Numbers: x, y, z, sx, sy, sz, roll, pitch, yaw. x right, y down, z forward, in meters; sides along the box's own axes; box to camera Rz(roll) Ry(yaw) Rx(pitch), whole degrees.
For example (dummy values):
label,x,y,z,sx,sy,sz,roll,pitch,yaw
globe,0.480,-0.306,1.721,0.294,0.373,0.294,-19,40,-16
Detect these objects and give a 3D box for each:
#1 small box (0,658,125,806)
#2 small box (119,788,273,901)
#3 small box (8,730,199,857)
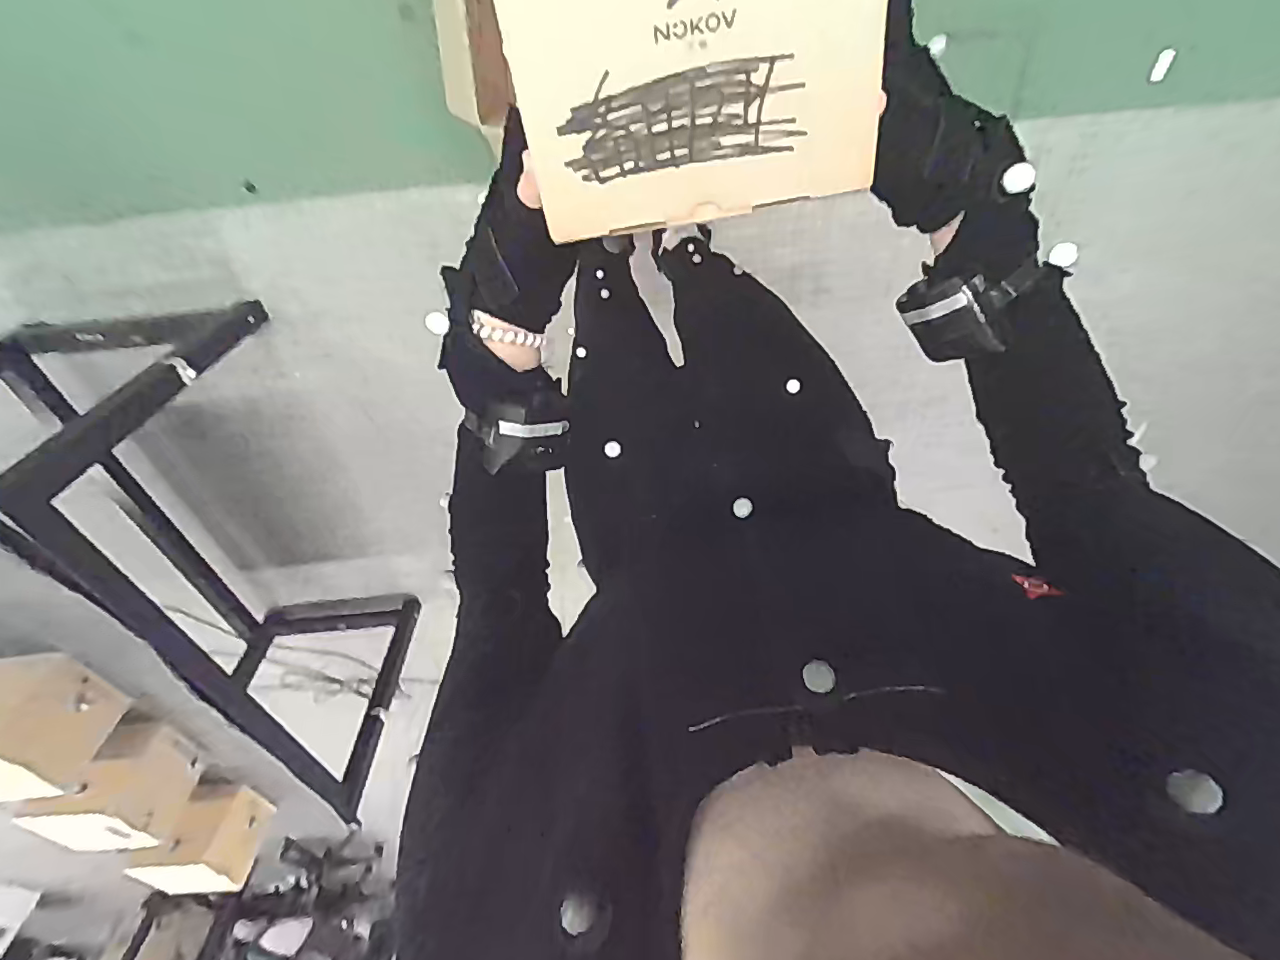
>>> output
label,x,y,z,sx,sy,sz,roll,pitch,yaw
small box,-1.041,0.418,0.899,0.179,0.176,0.168,-6,129,2
small box,-0.996,0.828,1.233,0.179,0.176,0.168,-6,128,2
small box,-1.017,0.605,1.052,0.179,0.176,0.168,-5,129,1
